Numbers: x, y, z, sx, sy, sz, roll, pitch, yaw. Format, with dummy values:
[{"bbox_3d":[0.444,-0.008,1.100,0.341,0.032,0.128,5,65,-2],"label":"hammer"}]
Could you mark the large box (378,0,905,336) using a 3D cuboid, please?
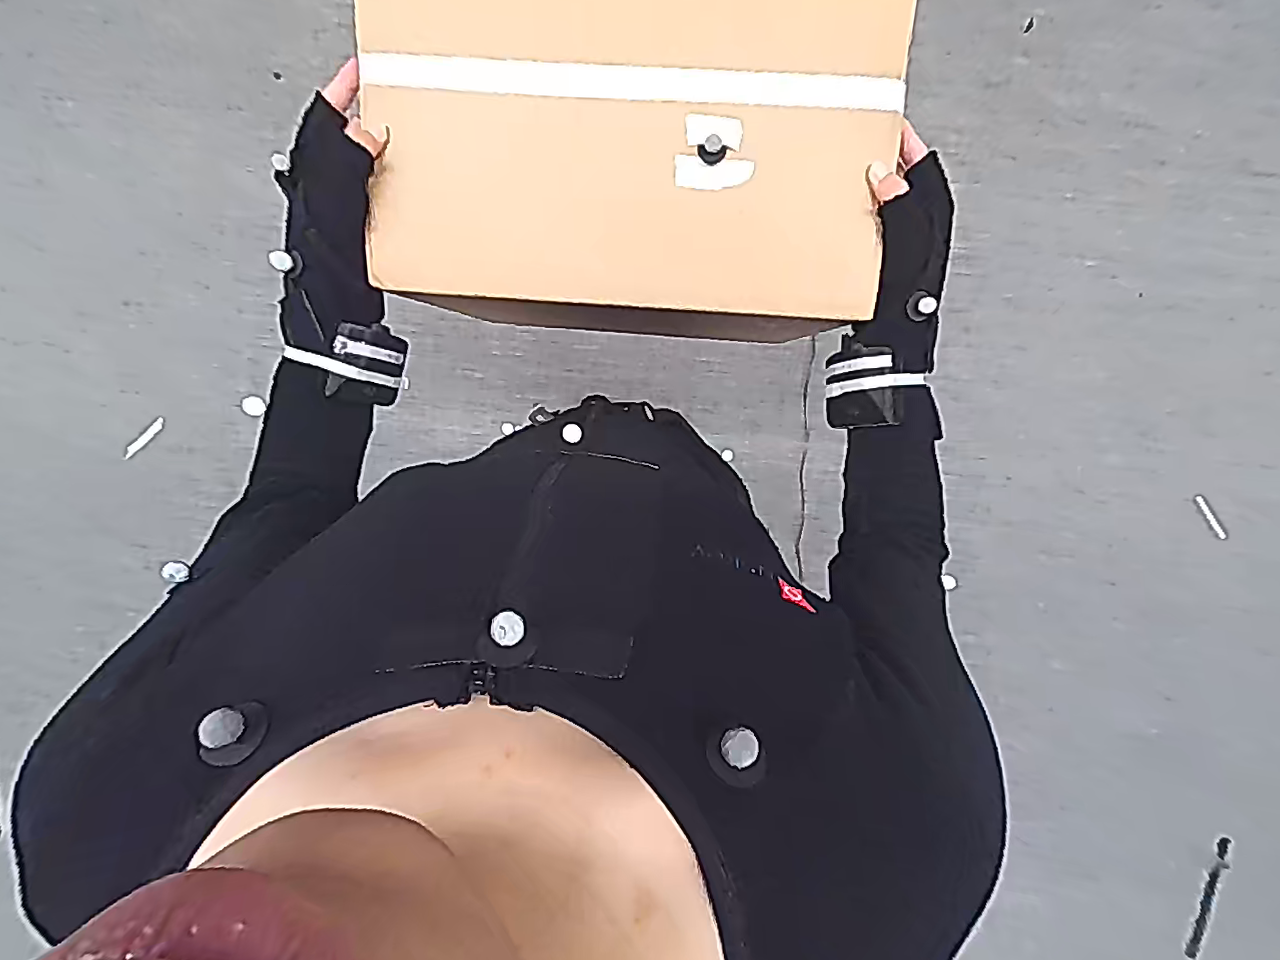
[{"bbox_3d":[-0.002,-0.328,0.561,0.408,0.320,0.320,4,101,1],"label":"large box"}]
